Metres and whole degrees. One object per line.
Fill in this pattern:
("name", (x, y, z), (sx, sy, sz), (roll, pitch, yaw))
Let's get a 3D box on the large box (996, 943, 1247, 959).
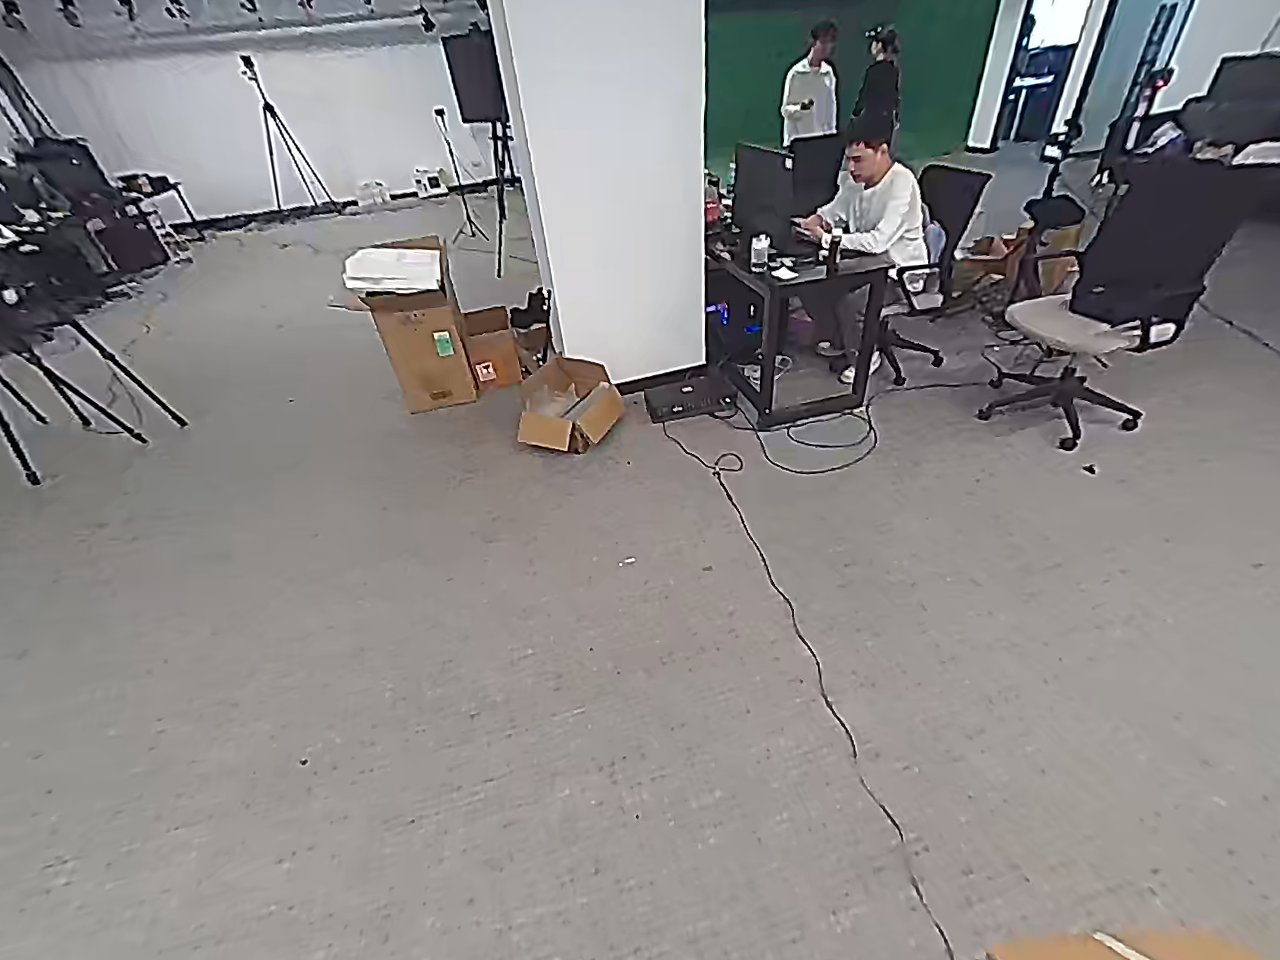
("large box", (0.641, 0.723, 0.512), (0.320, 0.408, 0.320), (-5, 71, 1))
